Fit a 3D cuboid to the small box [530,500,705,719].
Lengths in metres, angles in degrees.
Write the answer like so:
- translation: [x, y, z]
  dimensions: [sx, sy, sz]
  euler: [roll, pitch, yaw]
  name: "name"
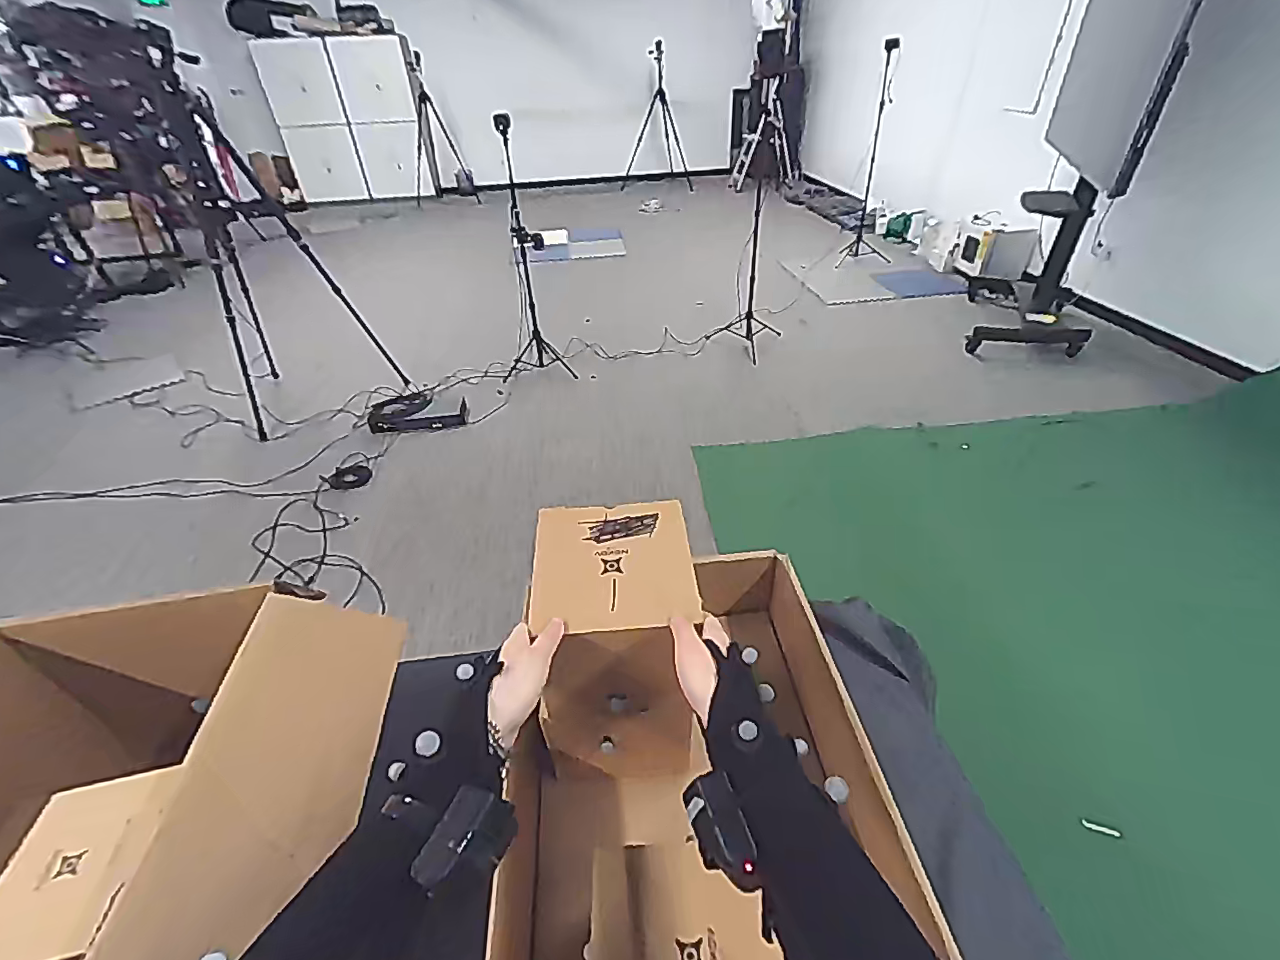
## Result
- translation: [-0.025, 0.145, 0.614]
  dimensions: [0.168, 0.176, 0.179]
  euler: [-4, 41, -2]
  name: "small box"
